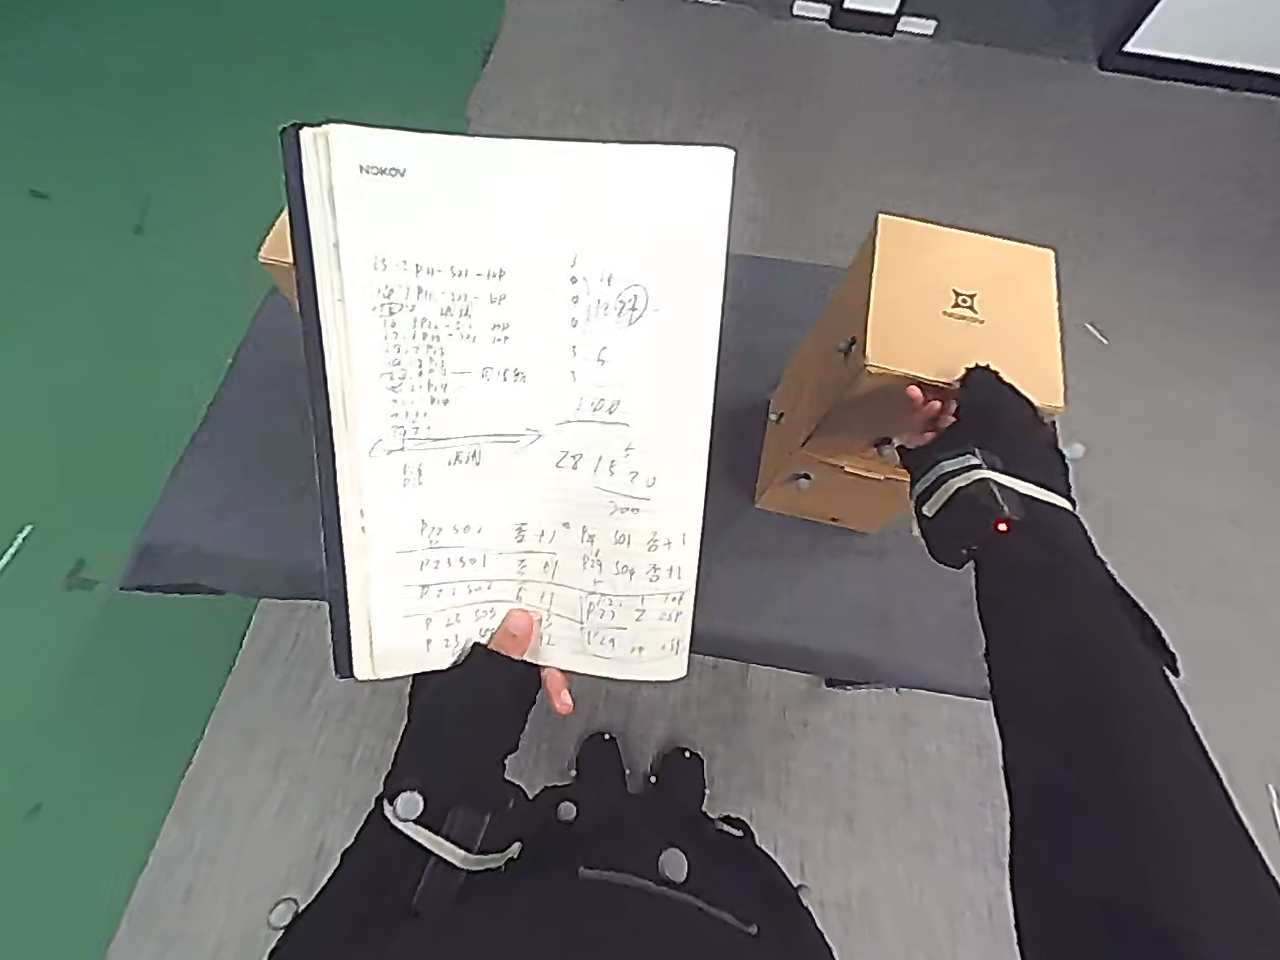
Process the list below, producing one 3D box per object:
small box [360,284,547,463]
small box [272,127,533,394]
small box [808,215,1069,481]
[{"bbox_3d":[-0.222,-0.145,0.703,0.168,0.176,0.179,10,67,2],"label":"small box"},{"bbox_3d":[-0.216,-0.212,0.553,0.168,0.176,0.179,12,66,1],"label":"small box"},{"bbox_3d":[0.281,-0.122,0.545,0.168,0.176,0.179,13,68,2],"label":"small box"}]
